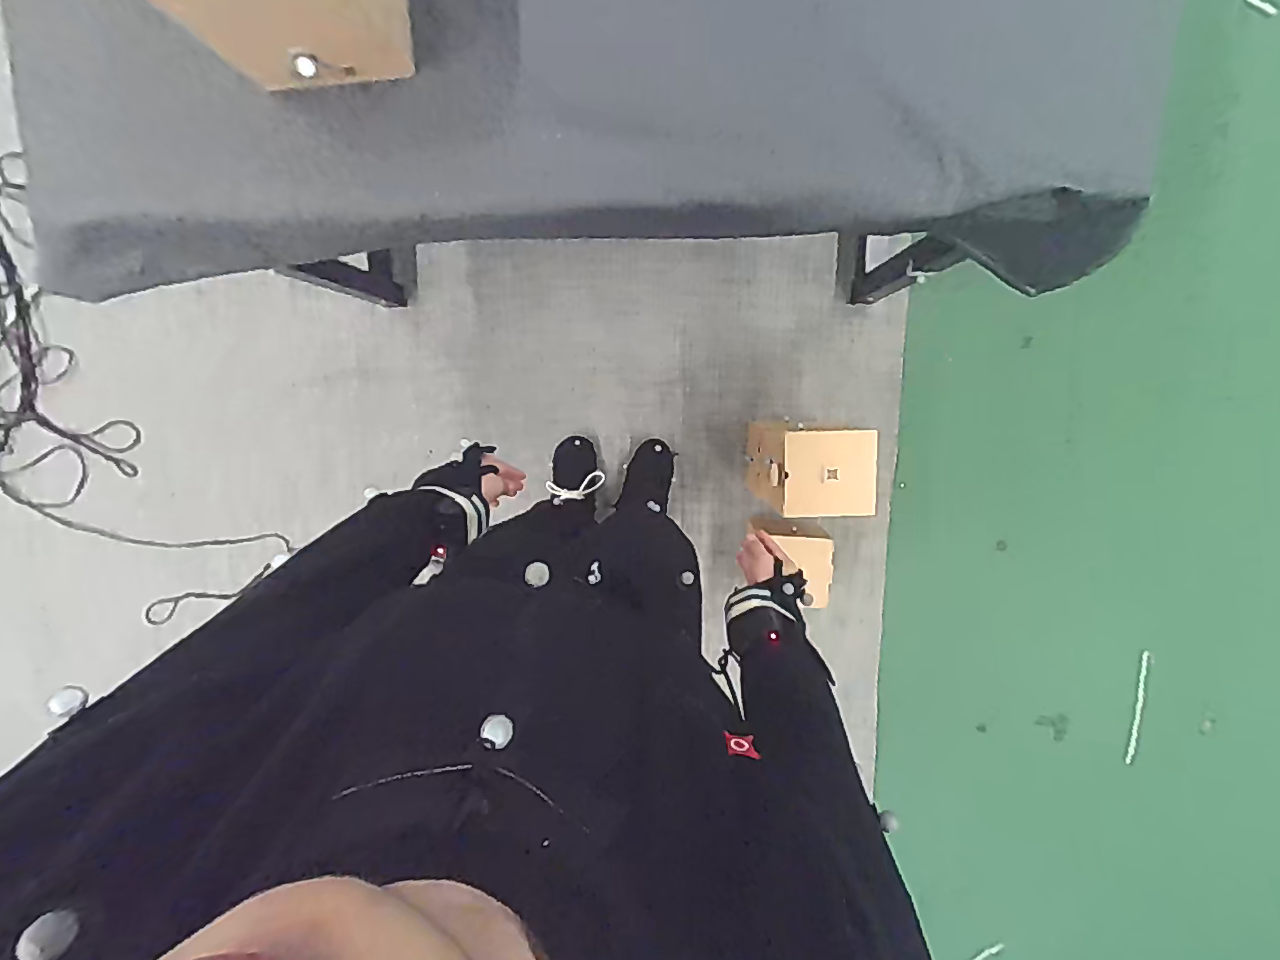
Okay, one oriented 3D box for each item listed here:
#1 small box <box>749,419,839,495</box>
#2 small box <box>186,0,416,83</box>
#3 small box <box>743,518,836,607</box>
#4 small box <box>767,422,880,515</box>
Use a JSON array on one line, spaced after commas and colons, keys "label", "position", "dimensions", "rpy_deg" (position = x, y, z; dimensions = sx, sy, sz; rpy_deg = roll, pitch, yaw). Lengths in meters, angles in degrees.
[{"label": "small box", "position": [0.350, -0.055, 1.252], "dimensions": [0.179, 0.176, 0.168], "rpy_deg": [0, 97, 3]}, {"label": "small box", "position": [-0.319, -0.496, 0.477], "dimensions": [0.168, 0.176, 0.179], "rpy_deg": [-3, 99, 3]}, {"label": "small box", "position": [0.349, 0.190, 1.291], "dimensions": [0.179, 0.176, 0.168], "rpy_deg": [3, 98, 4]}, {"label": "small box", "position": [0.361, -0.028, 1.089], "dimensions": [0.179, 0.176, 0.168], "rpy_deg": [-2, 99, 3]}]
